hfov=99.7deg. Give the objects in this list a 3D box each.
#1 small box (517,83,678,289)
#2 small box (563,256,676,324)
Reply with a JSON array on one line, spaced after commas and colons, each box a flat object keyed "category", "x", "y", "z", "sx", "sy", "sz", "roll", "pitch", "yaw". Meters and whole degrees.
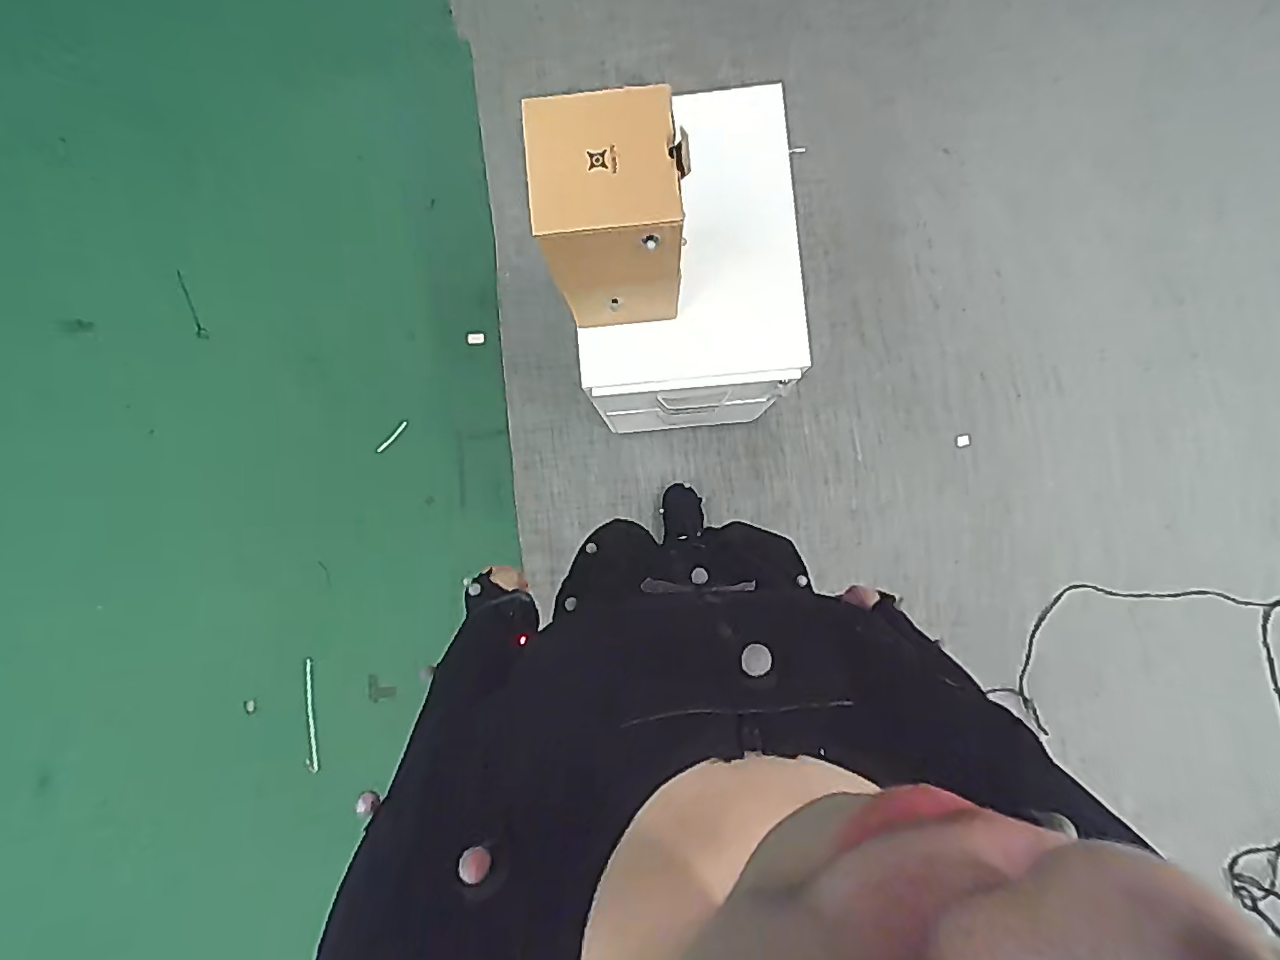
[{"category": "small box", "x": -0.046, "y": -0.359, "z": 0.692, "sx": 0.179, "sy": 0.176, "sz": 0.168, "roll": -6, "pitch": 87, "yaw": 1}, {"category": "small box", "x": -0.036, "y": -0.358, "z": 0.856, "sx": 0.179, "sy": 0.176, "sz": 0.168, "roll": -6, "pitch": 87, "yaw": 2}]
